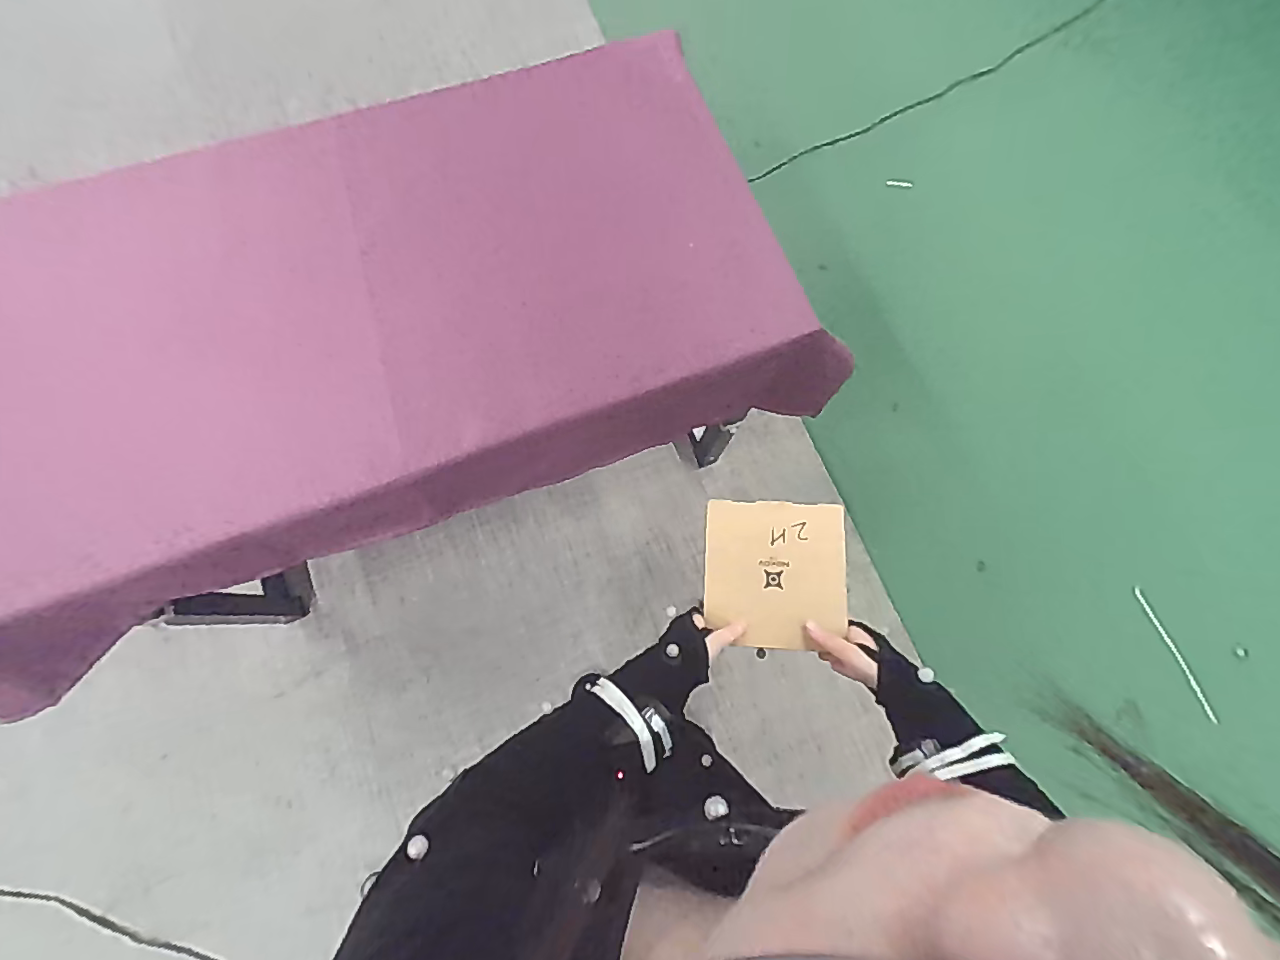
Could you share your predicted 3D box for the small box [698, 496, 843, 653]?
[{"bbox_3d":[0.167,0.128,0.723,0.168,0.176,0.179,4,76,7],"label":"small box"}]
